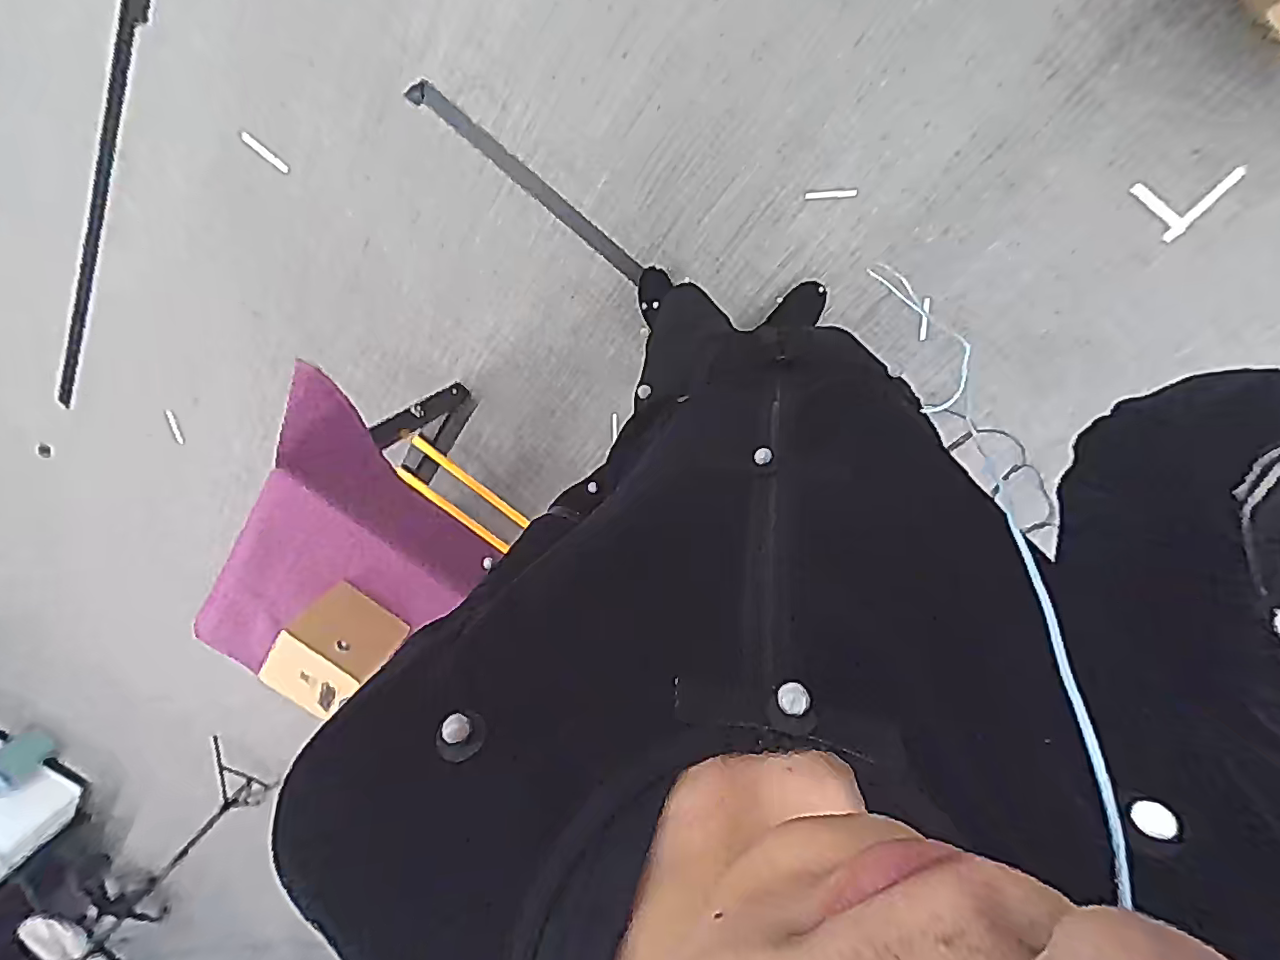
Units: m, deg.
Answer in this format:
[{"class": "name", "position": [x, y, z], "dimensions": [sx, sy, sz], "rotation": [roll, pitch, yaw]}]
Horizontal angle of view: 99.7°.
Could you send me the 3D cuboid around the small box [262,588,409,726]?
[{"class": "small box", "position": [-0.615, 0.356, 1.111], "dimensions": [0.179, 0.176, 0.168], "rotation": [38, 116, -6]}]
